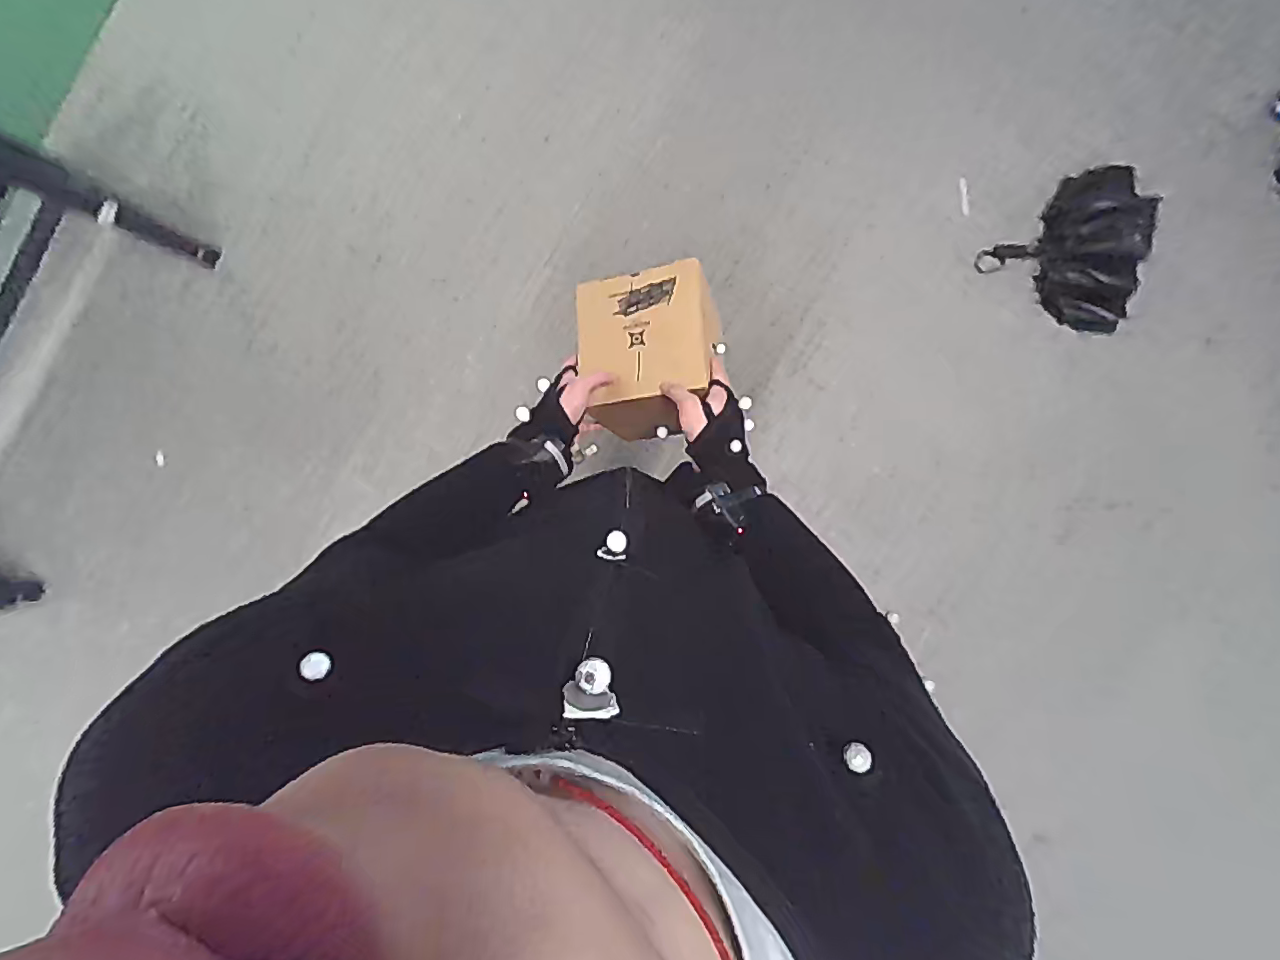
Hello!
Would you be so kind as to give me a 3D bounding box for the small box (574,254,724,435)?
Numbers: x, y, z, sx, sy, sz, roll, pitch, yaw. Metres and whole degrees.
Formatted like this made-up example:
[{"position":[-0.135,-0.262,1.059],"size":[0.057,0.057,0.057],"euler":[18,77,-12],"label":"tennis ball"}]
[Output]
[{"position":[0.017,-0.178,0.760],"size":[0.168,0.176,0.179],"euler":[-8,77,19],"label":"small box"}]
